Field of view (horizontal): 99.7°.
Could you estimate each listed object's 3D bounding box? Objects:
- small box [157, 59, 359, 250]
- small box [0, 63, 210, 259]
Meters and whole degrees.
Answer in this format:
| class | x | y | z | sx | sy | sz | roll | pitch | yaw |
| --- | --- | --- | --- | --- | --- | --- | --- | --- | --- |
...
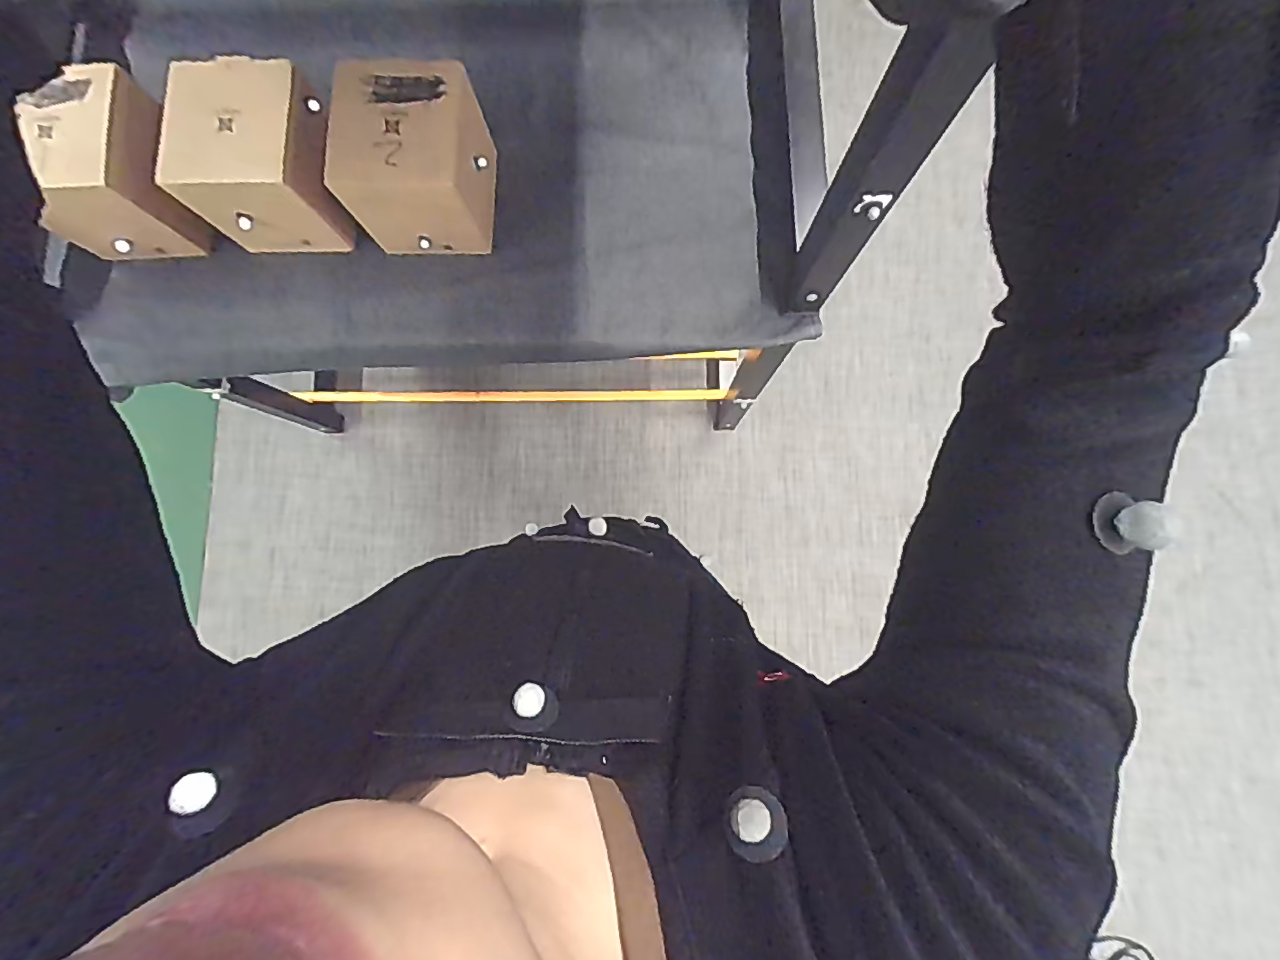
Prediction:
| class | x | y | z | sx | sy | sz | roll | pitch | yaw |
| --- | --- | --- | --- | --- | --- | --- | --- | --- | --- |
| small box | -0.523 | -0.446 | 0.766 | 0.168 | 0.176 | 0.179 | 0 | 82 | 0 |
| small box | -0.750 | -0.439 | 0.766 | 0.168 | 0.176 | 0.179 | -3 | 83 | 1 |
